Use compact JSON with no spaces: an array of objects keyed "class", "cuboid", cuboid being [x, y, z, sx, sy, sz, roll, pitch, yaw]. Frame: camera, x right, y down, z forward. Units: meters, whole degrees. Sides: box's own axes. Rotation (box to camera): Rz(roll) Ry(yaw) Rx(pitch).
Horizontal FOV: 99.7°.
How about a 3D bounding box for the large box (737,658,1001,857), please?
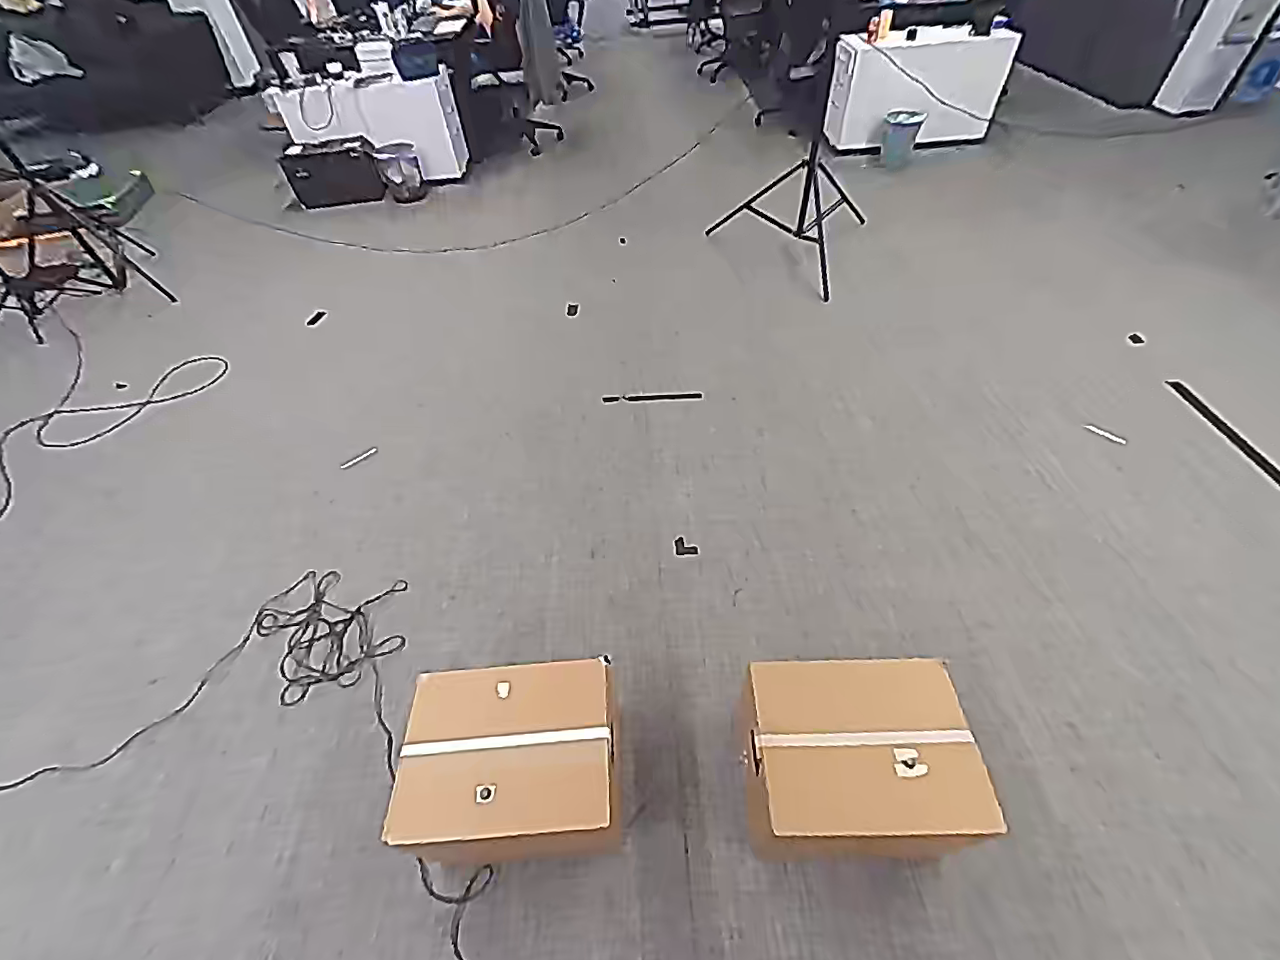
[{"class":"large box","cuboid":[0.439,0.596,1.156,0.408,0.320,0.320,-1,49,2]}]
